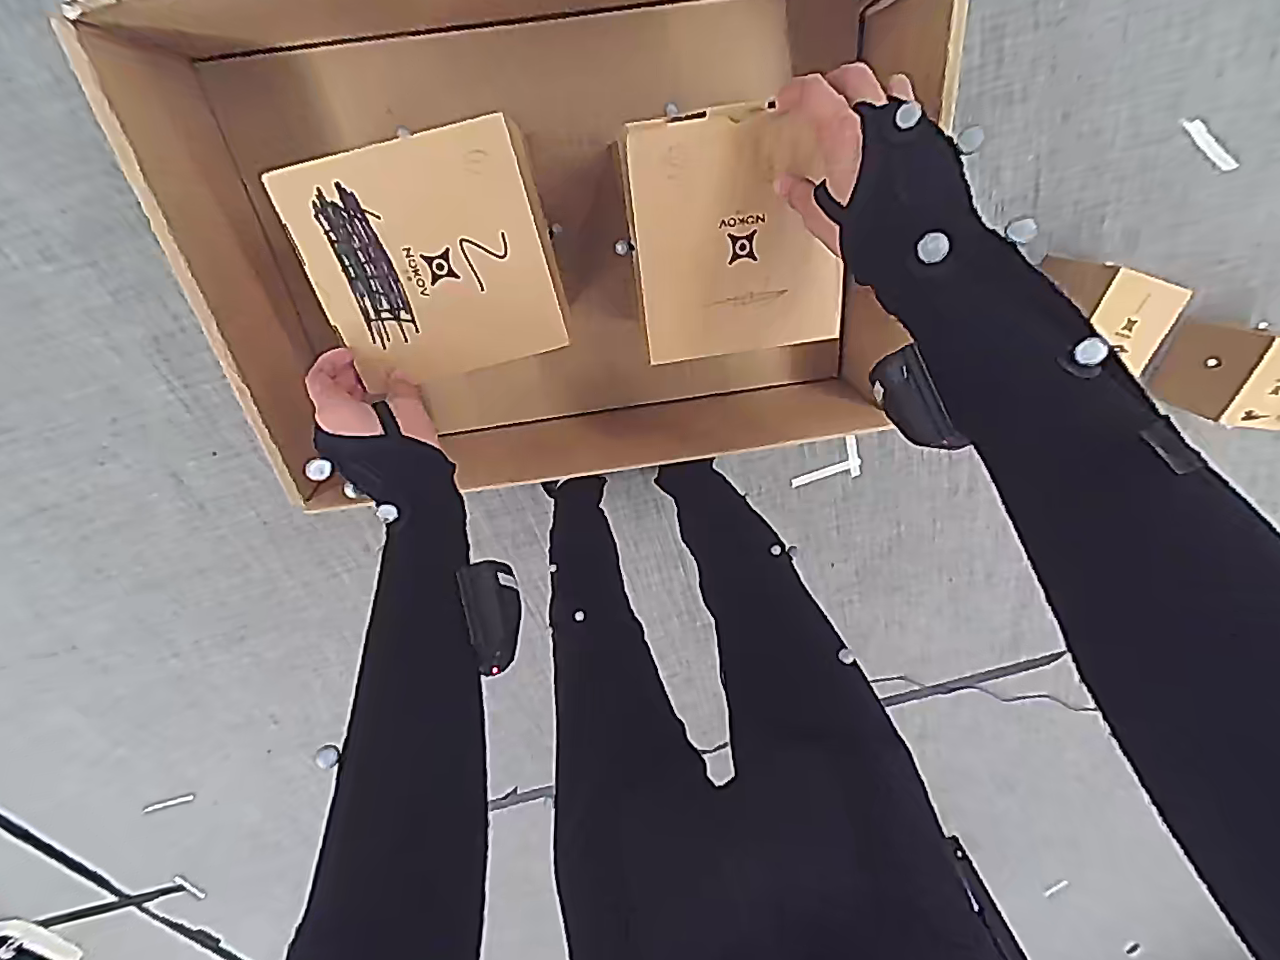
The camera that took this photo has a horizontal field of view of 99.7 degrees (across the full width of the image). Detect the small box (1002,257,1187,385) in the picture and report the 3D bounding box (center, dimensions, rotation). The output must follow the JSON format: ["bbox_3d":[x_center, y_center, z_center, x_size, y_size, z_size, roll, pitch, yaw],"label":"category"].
[{"bbox_3d":[0.832,-0.303,1.017,0.168,0.176,0.179,11,116,-12],"label":"small box"}]

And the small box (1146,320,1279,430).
[{"bbox_3d":[1.209,-0.219,1.105,0.168,0.176,0.179,5,117,-9],"label":"small box"}]

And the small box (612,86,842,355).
[{"bbox_3d":[0.068,-0.228,0.493,0.168,0.176,0.179,-8,117,-1],"label":"small box"}]
